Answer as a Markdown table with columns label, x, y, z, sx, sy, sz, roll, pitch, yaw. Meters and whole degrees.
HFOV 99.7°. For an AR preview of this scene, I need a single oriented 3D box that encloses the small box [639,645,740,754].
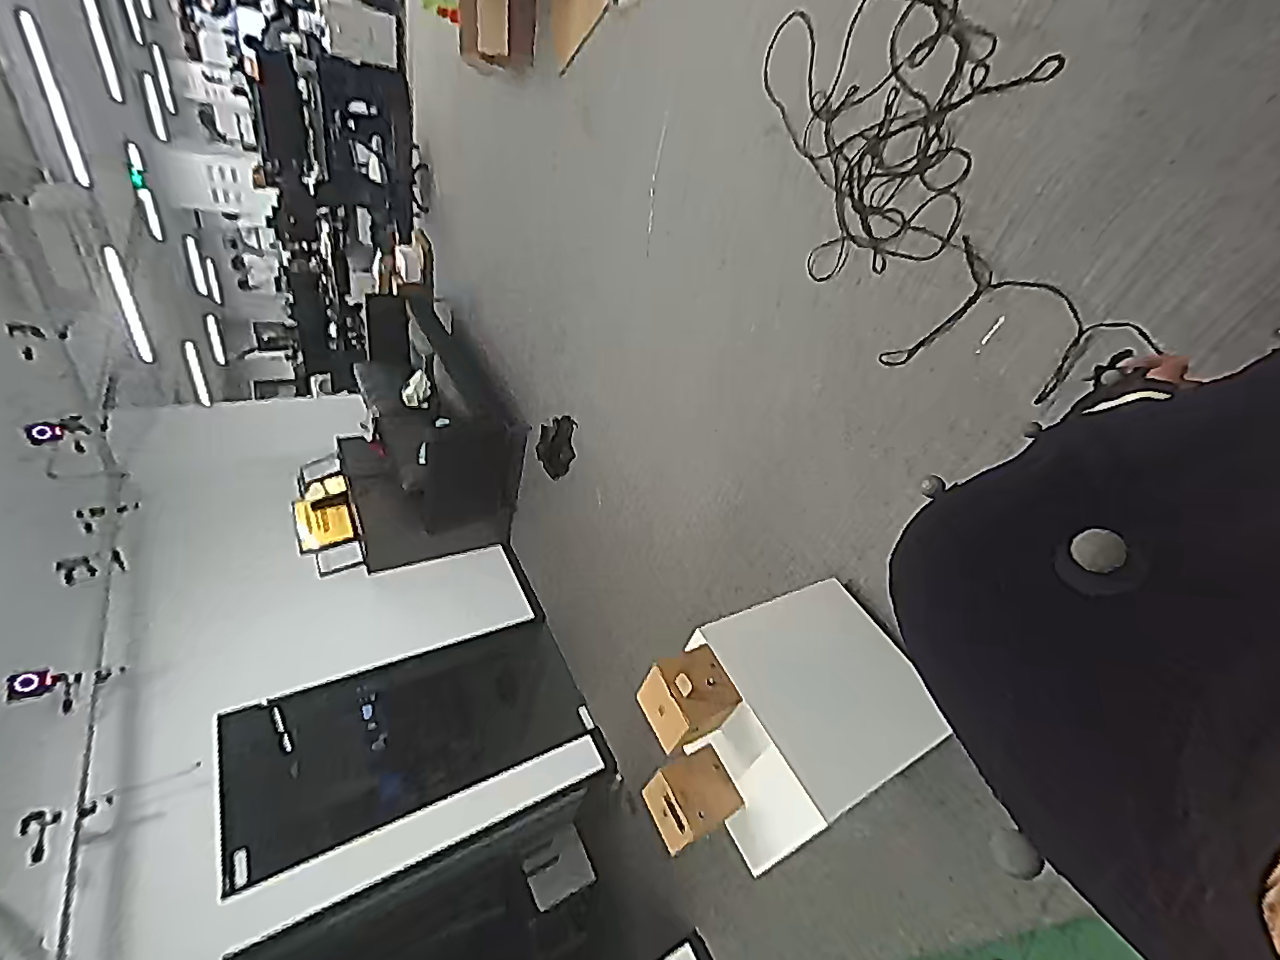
| label | x | y | z | sx | sy | sz | roll | pitch | yaw |
| --- | --- | --- | --- | --- | --- | --- | --- | --- | --- |
| small box | 0.124 | 0.547 | 1.356 | 0.168 | 0.176 | 0.179 | 55 | 141 | 35 |
